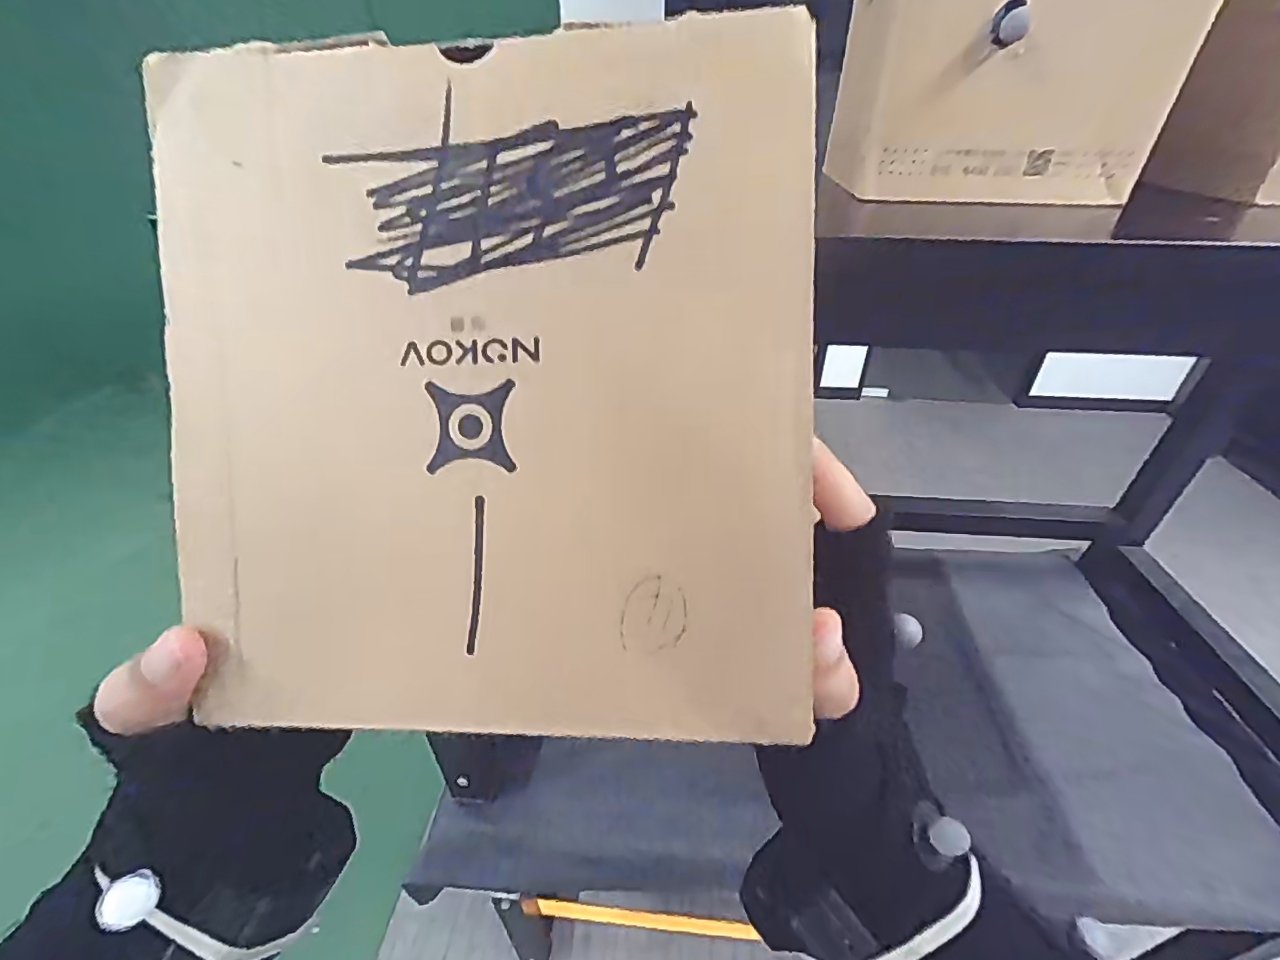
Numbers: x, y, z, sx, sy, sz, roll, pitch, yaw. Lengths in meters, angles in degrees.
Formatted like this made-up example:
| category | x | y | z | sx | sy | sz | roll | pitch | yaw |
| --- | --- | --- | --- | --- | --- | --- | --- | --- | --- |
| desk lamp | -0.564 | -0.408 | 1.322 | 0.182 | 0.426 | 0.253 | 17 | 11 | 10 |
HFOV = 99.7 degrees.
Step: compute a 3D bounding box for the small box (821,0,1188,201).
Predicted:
| category | x | y | z | sx | sy | sz | roll | pitch | yaw |
| --- | --- | --- | --- | --- | --- | --- | --- | --- | --- |
| small box | 0.231 | -0.296 | 0.372 | 0.168 | 0.176 | 0.179 | 4 | 35 | 7 |
